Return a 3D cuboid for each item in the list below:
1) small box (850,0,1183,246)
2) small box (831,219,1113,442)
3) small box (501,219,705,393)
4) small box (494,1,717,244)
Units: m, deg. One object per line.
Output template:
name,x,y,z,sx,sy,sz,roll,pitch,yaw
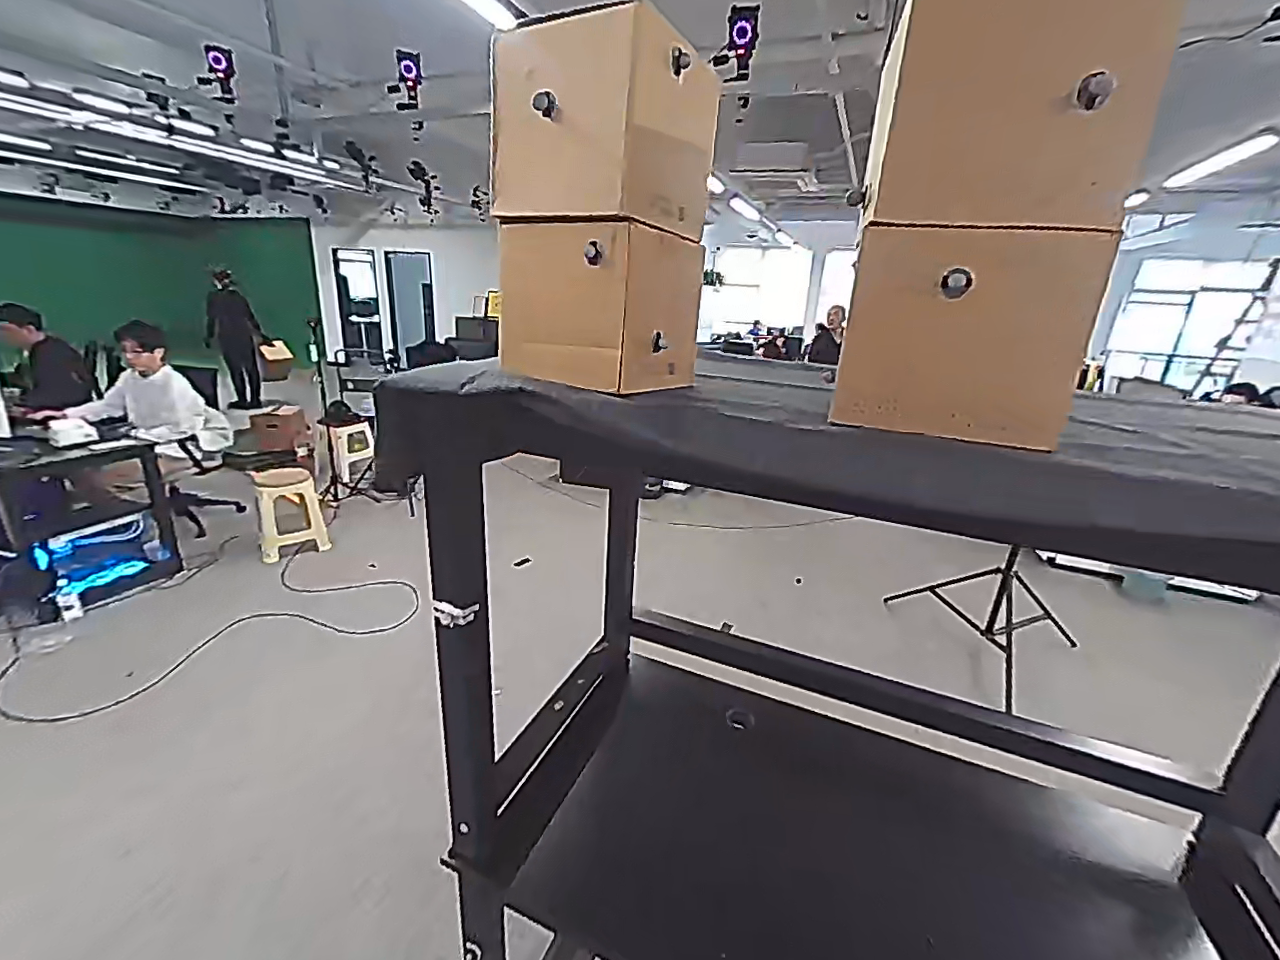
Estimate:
small box,0.294,-0.294,0.468,0.179,0.176,0.168,7,16,14
small box,0.282,-0.137,0.507,0.179,0.176,0.168,10,18,18
small box,-0.045,-0.195,0.632,0.179,0.176,0.168,14,19,29
small box,-0.037,-0.349,0.576,0.179,0.176,0.168,14,19,29
